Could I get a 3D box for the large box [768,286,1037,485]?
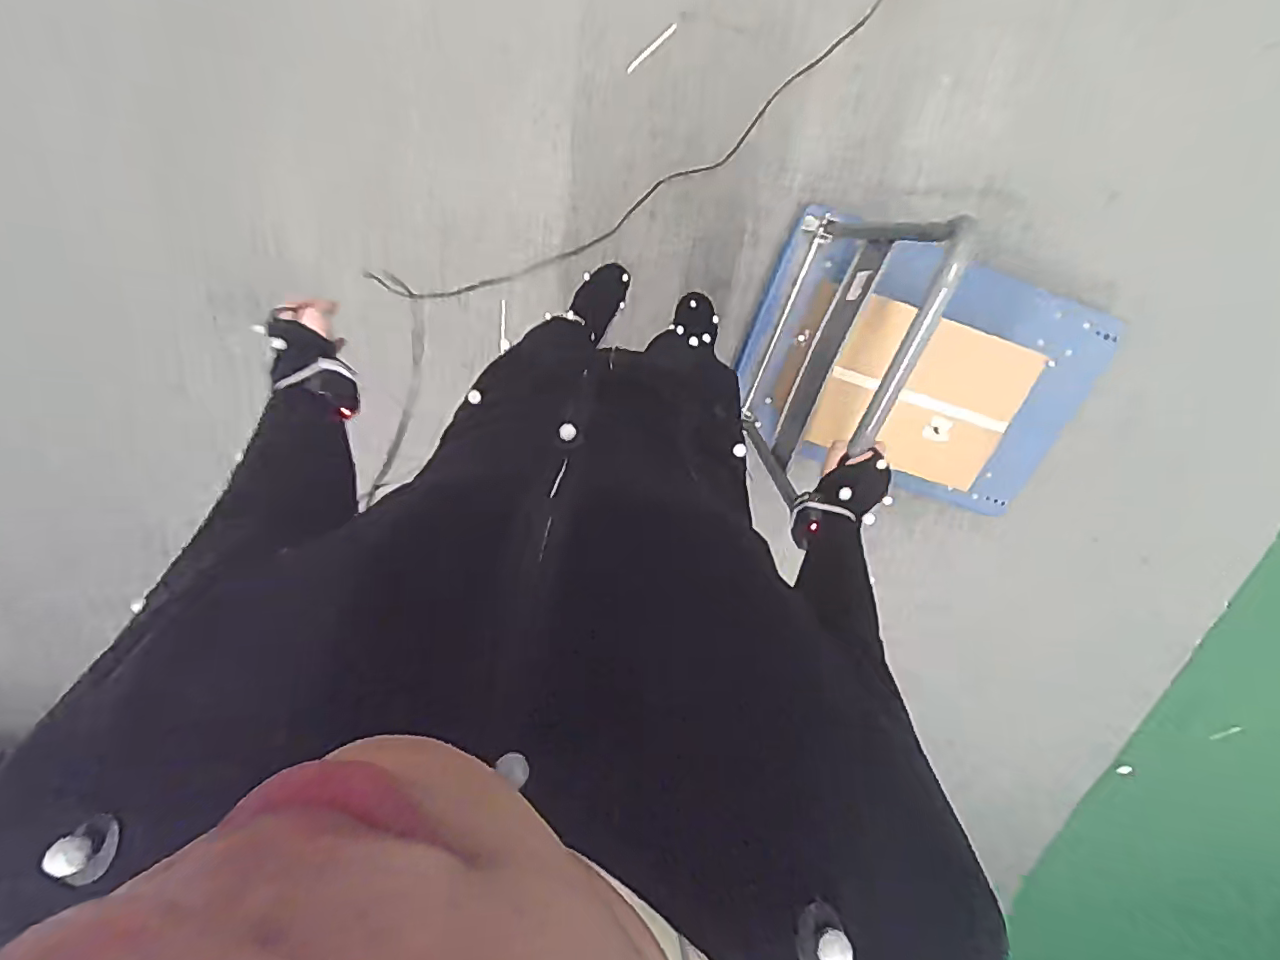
[{"bbox_3d":[0.562,-0.232,1.250,0.408,0.320,0.320,17,113,-6],"label":"large box"}]
